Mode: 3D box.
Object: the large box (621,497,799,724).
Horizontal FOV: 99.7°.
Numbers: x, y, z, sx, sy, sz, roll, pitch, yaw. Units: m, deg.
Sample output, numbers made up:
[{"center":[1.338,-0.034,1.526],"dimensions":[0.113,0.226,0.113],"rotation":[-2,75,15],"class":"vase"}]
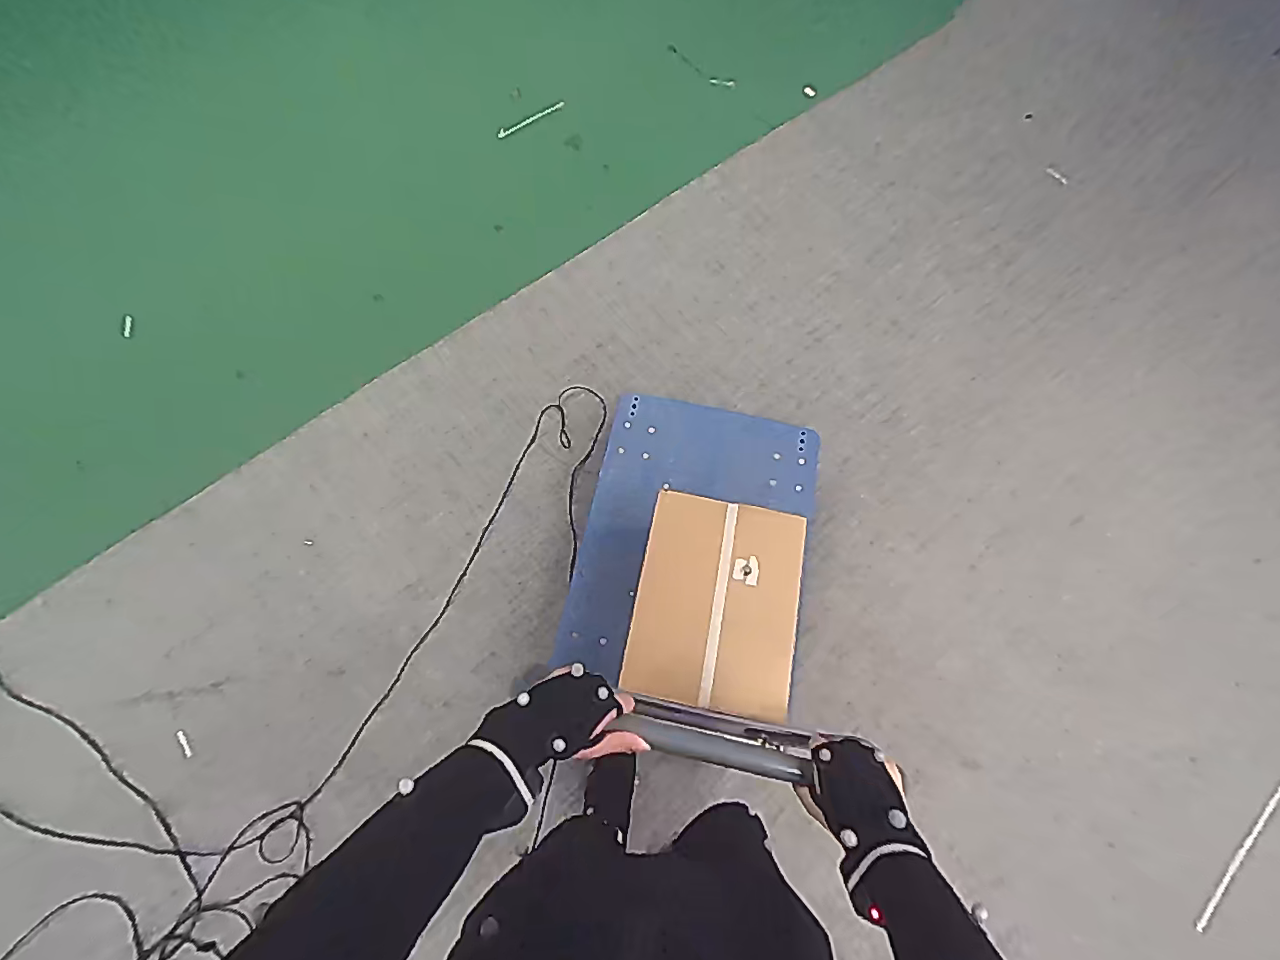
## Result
[{"center":[0.146,0.299,1.211],"dimensions":[0.320,0.320,0.408],"rotation":[12,69,2],"class":"large box"}]
